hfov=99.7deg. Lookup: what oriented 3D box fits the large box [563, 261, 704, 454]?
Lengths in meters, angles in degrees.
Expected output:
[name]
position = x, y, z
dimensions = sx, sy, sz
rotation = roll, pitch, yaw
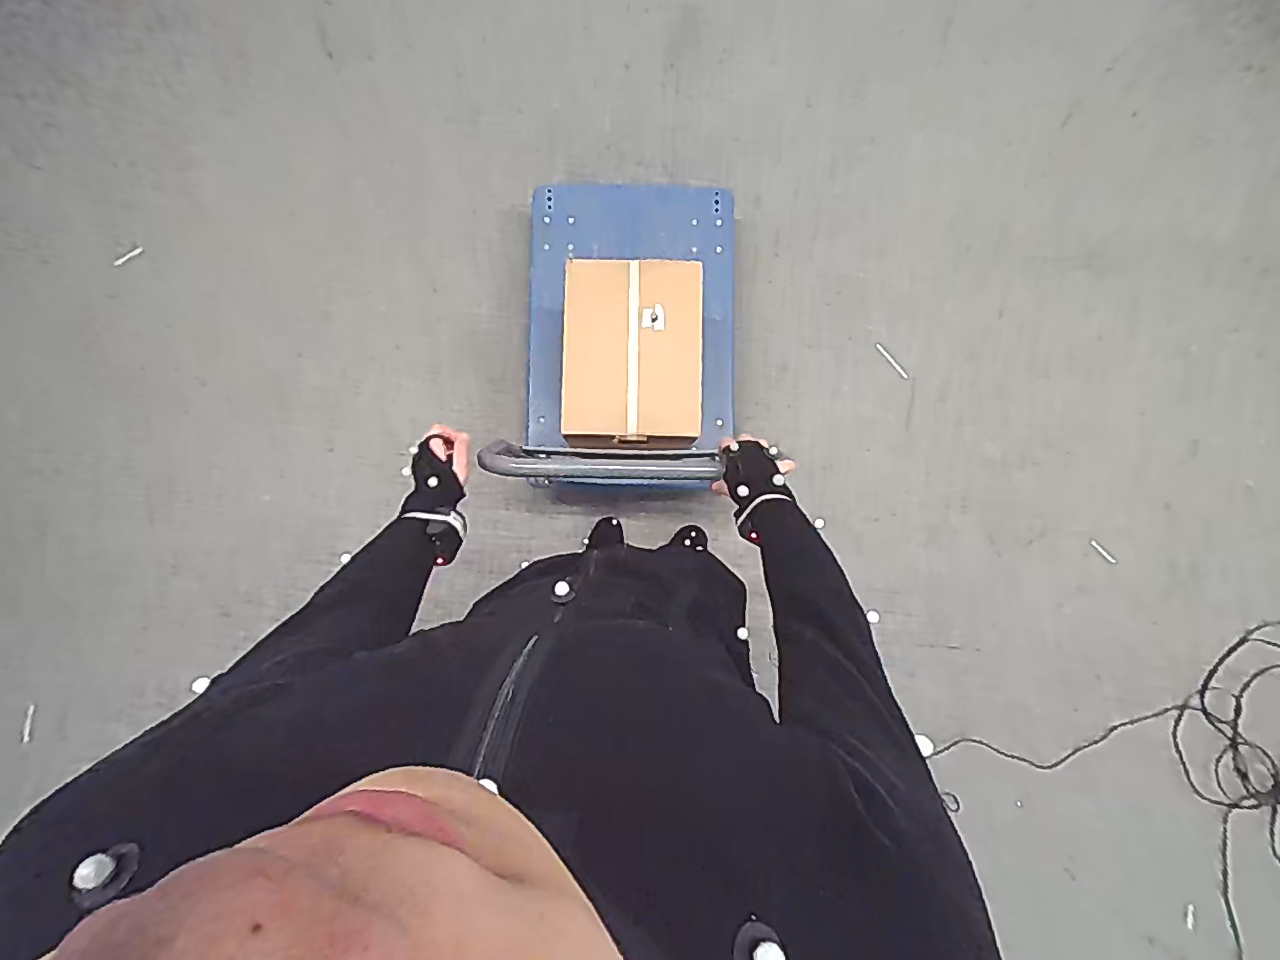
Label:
[large box]
position = -0.015, -0.281, 1.351
dimensions = 0.320, 0.320, 0.408
rotation = 1, 85, -1
